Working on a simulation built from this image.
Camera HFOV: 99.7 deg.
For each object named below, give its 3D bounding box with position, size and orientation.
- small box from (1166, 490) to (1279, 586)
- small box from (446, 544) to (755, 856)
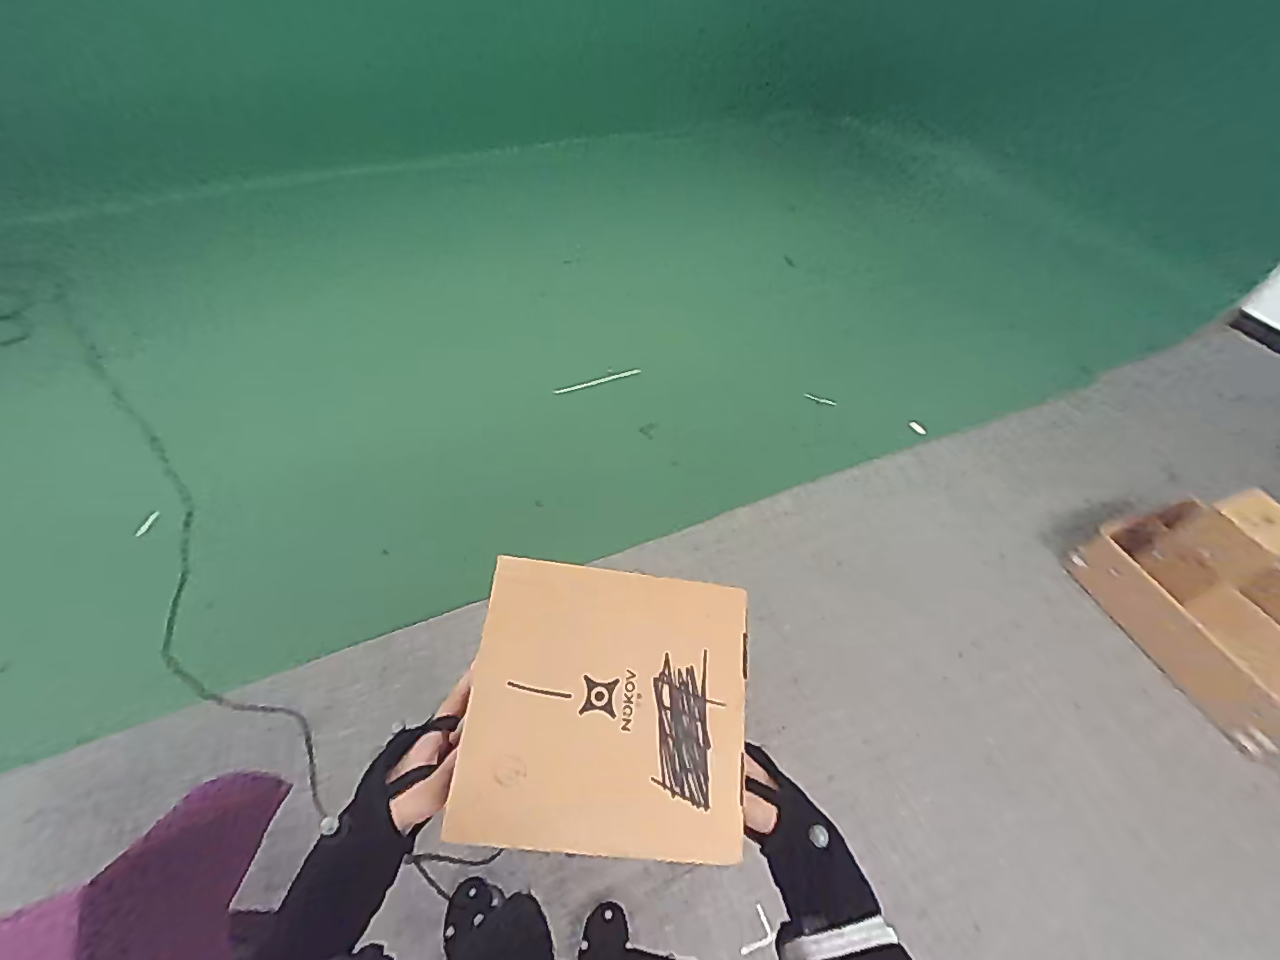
[{"bbox_3d":[1.583,0.156,1.438,0.179,0.176,0.168,-15,52,-12],"label":"small box"},{"bbox_3d":[-0.026,0.164,0.417,0.179,0.176,0.168,11,65,-4],"label":"small box"}]
